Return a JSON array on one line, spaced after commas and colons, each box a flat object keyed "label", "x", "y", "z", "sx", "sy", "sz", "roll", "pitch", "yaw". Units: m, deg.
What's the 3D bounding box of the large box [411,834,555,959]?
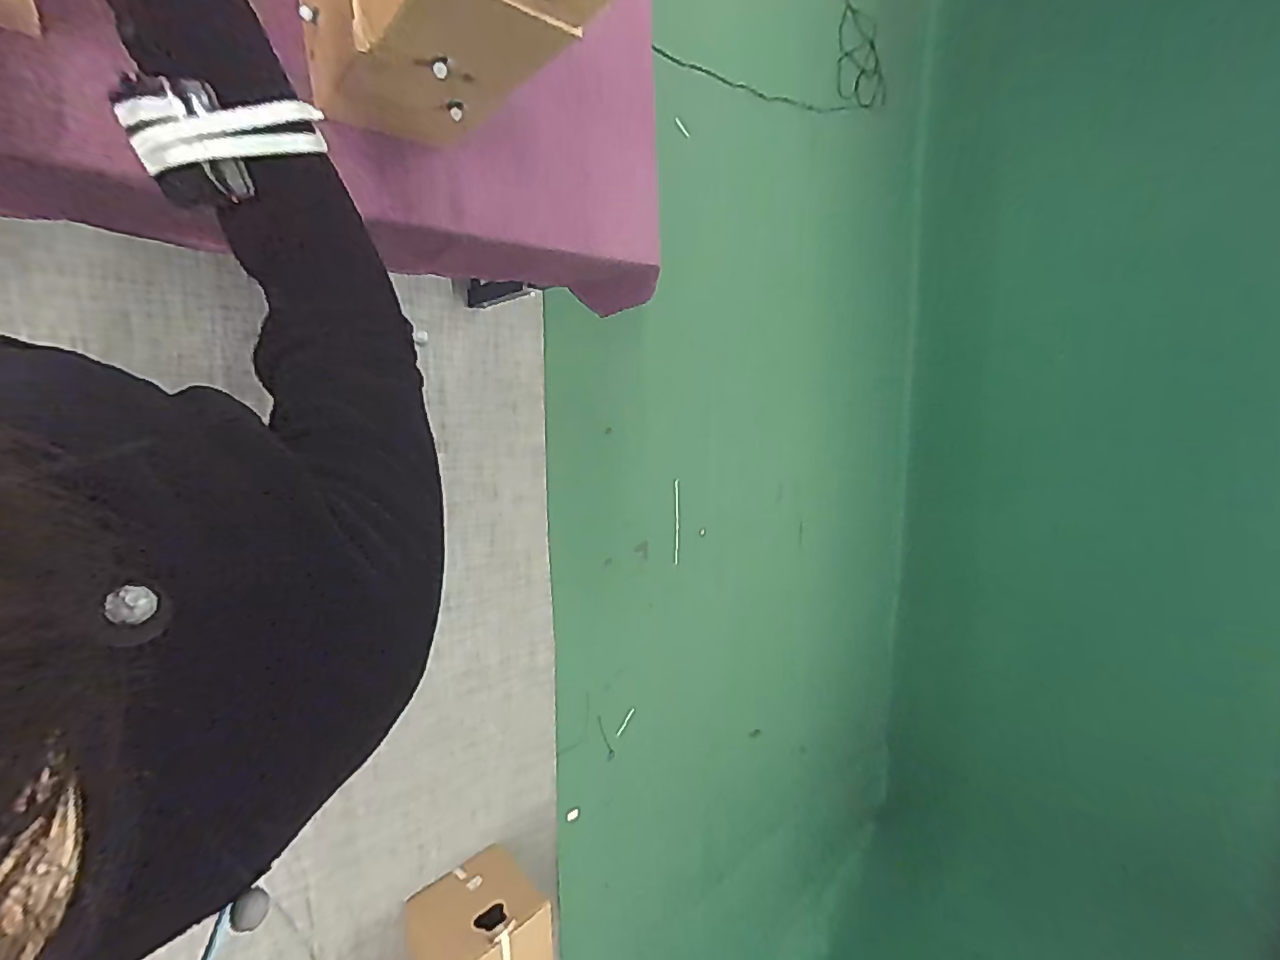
[{"label": "large box", "x": -0.478, "y": 1.426, "z": 1.663, "sx": 0.320, "sy": 0.320, "sz": 0.408, "roll": -10, "pitch": 103, "yaw": -43}]

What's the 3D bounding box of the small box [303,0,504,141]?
[{"label": "small box", "x": -0.293, "y": -0.552, "z": 0.670, "sx": 0.179, "sy": 0.176, "sz": 0.168, "roll": -12, "pitch": 103, "yaw": -42}]

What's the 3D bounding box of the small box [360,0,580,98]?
[{"label": "small box", "x": -0.181, "y": -0.540, "z": 0.551, "sx": 0.168, "sy": 0.176, "sz": 0.179, "roll": -13, "pitch": 105, "yaw": -41}]
